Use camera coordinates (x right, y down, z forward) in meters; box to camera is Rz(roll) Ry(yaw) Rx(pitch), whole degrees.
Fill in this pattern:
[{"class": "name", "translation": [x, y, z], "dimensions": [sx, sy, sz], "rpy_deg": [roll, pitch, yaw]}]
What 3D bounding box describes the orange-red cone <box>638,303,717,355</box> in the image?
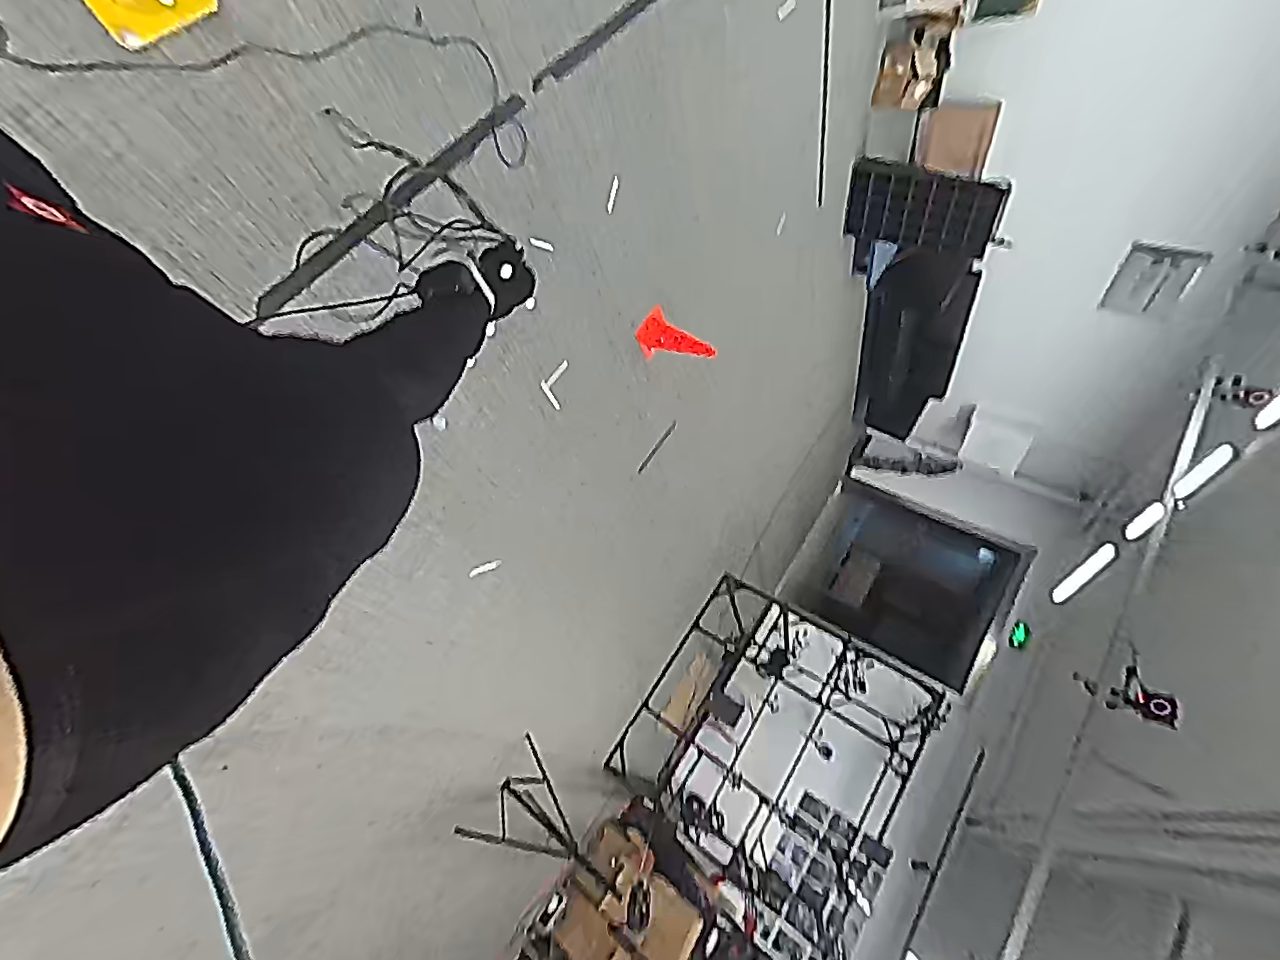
[{"class": "orange-red cone", "translation": [0.197, -0.659, 2.512], "dimensions": [0.199, 0.360, 0.198], "rpy_deg": [-57, 152, -15]}]
